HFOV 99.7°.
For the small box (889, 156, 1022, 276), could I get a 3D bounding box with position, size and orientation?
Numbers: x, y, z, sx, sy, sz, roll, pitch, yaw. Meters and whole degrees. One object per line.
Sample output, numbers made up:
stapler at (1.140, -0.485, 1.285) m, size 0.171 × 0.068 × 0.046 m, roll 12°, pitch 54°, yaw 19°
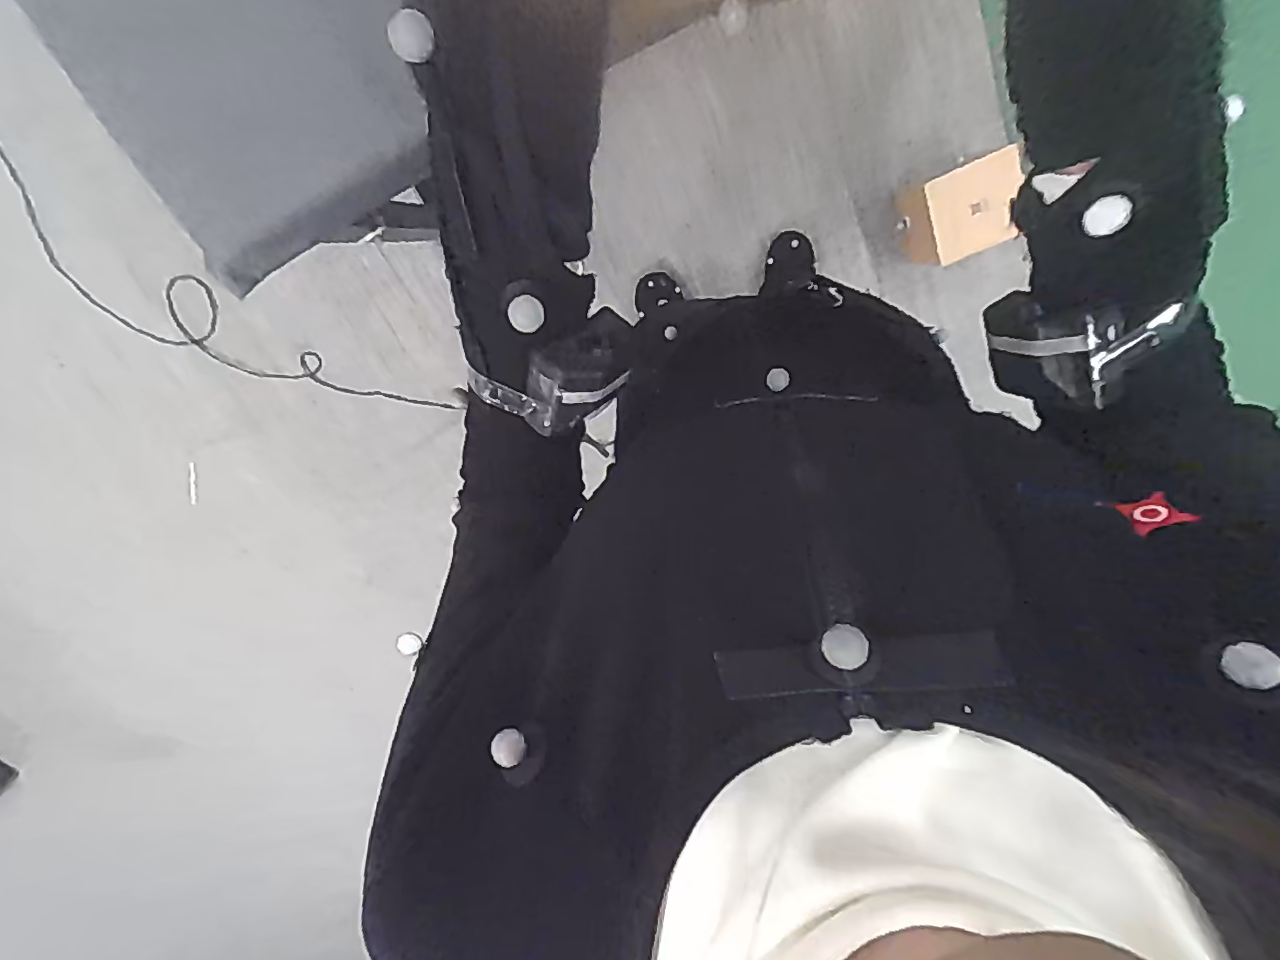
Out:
small box at (0.655, -0.548, 1.136) m, size 0.179 × 0.176 × 0.168 m, roll -20°, pitch 110°, yaw 12°
